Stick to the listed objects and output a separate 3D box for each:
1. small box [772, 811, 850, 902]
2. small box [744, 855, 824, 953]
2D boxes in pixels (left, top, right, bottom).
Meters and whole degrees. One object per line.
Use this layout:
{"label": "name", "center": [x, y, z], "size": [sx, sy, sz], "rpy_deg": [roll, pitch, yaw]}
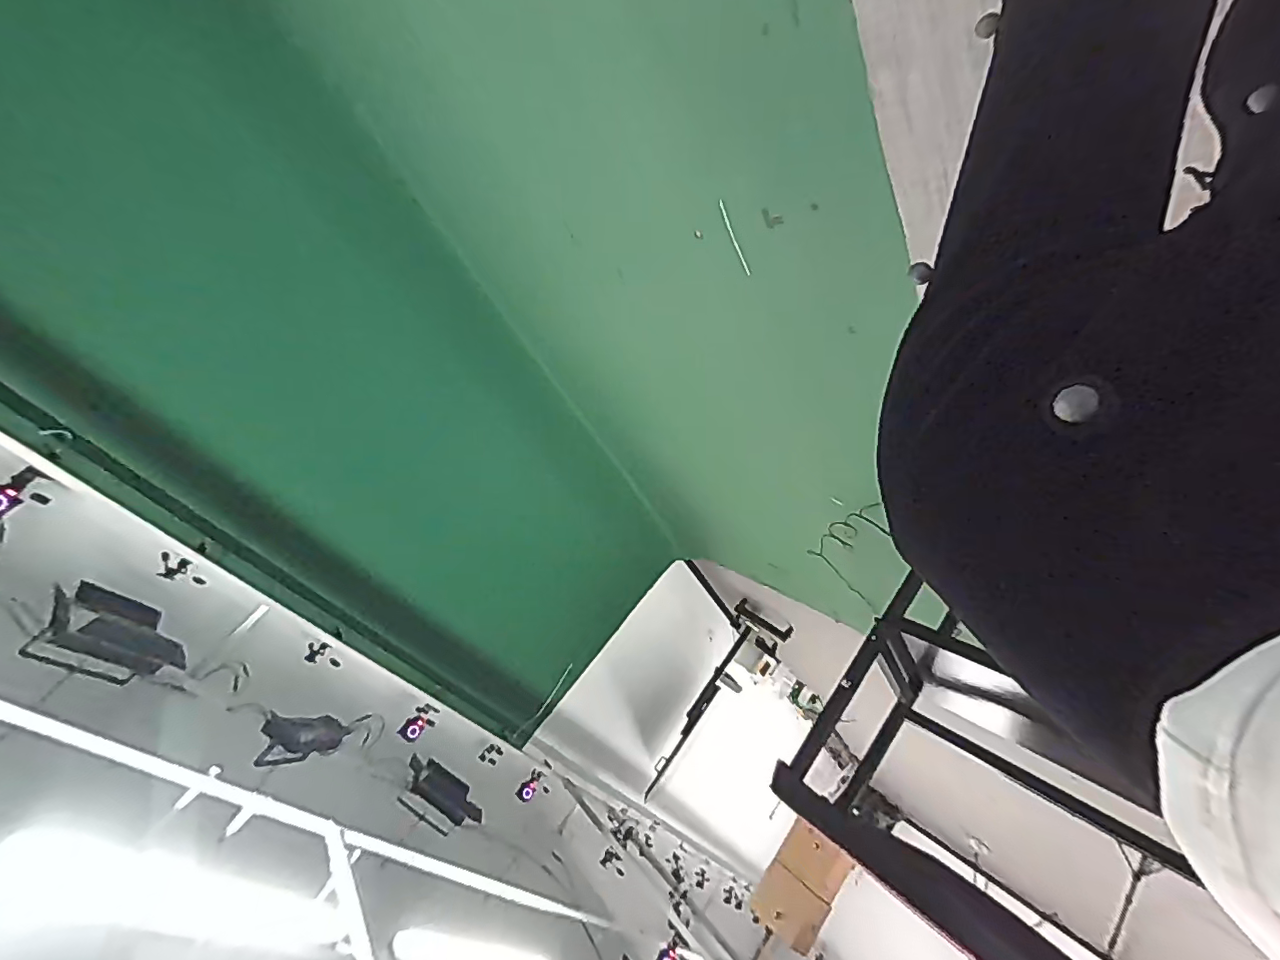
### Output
{"label": "small box", "center": [0.583, 1.267, 1.825], "size": [0.168, 0.176, 0.179], "rpy_deg": [19, 151, 50]}
{"label": "small box", "center": [0.479, 1.380, 1.765], "size": [0.179, 0.176, 0.168], "rpy_deg": [19, 151, 49]}
